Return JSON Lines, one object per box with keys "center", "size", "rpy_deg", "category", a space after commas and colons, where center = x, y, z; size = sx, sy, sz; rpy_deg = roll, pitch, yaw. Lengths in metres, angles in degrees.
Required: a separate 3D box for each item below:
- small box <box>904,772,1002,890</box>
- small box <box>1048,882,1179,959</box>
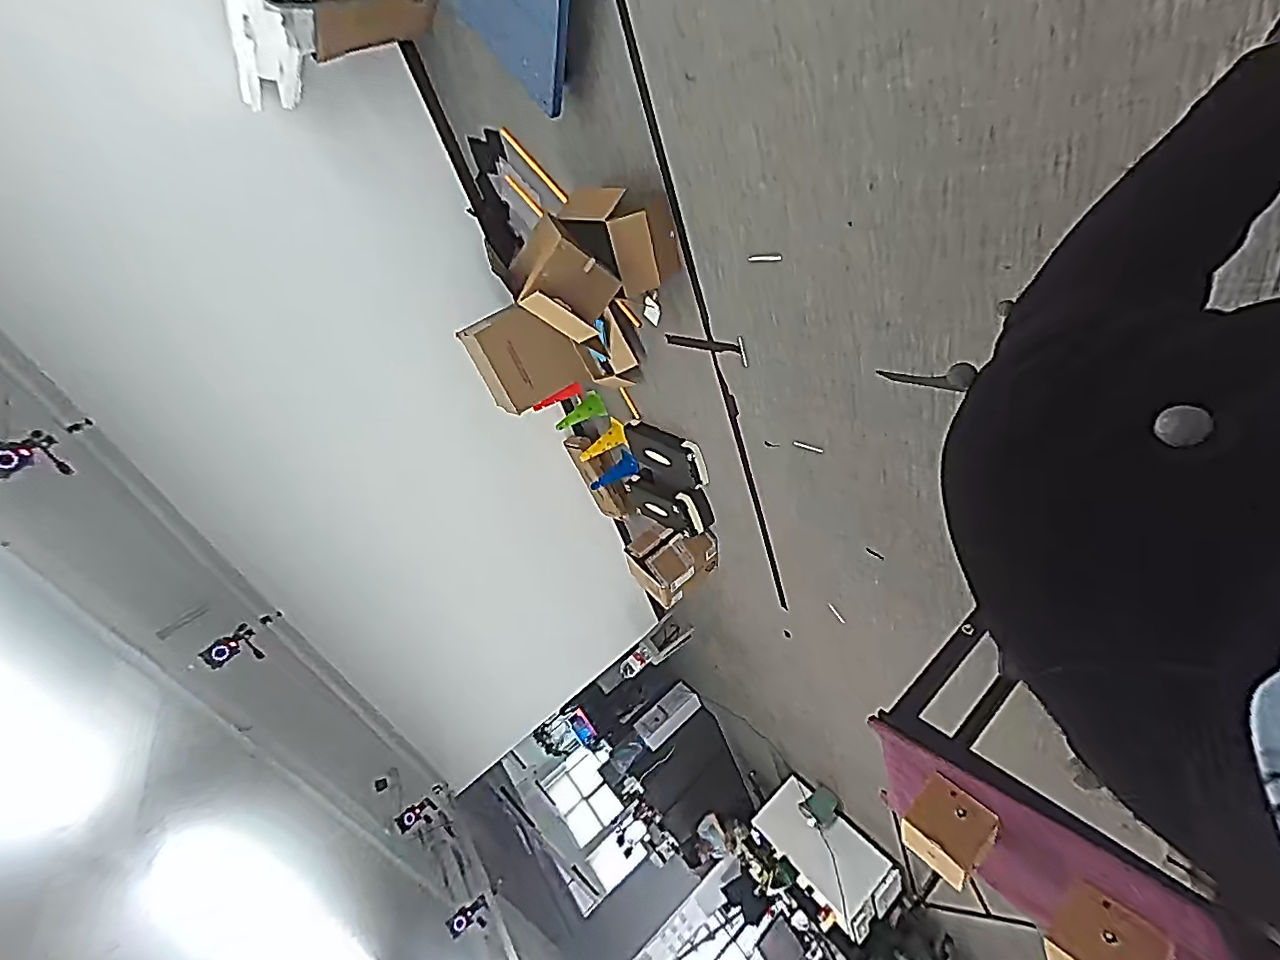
{"center": [0.828, 0.927, 1.434], "size": [0.168, 0.176, 0.179], "rpy_deg": [29, 149, 47], "category": "small box"}
{"center": [1.027, 1.034, 1.173], "size": [0.168, 0.176, 0.179], "rpy_deg": [17, 139, 58], "category": "small box"}
